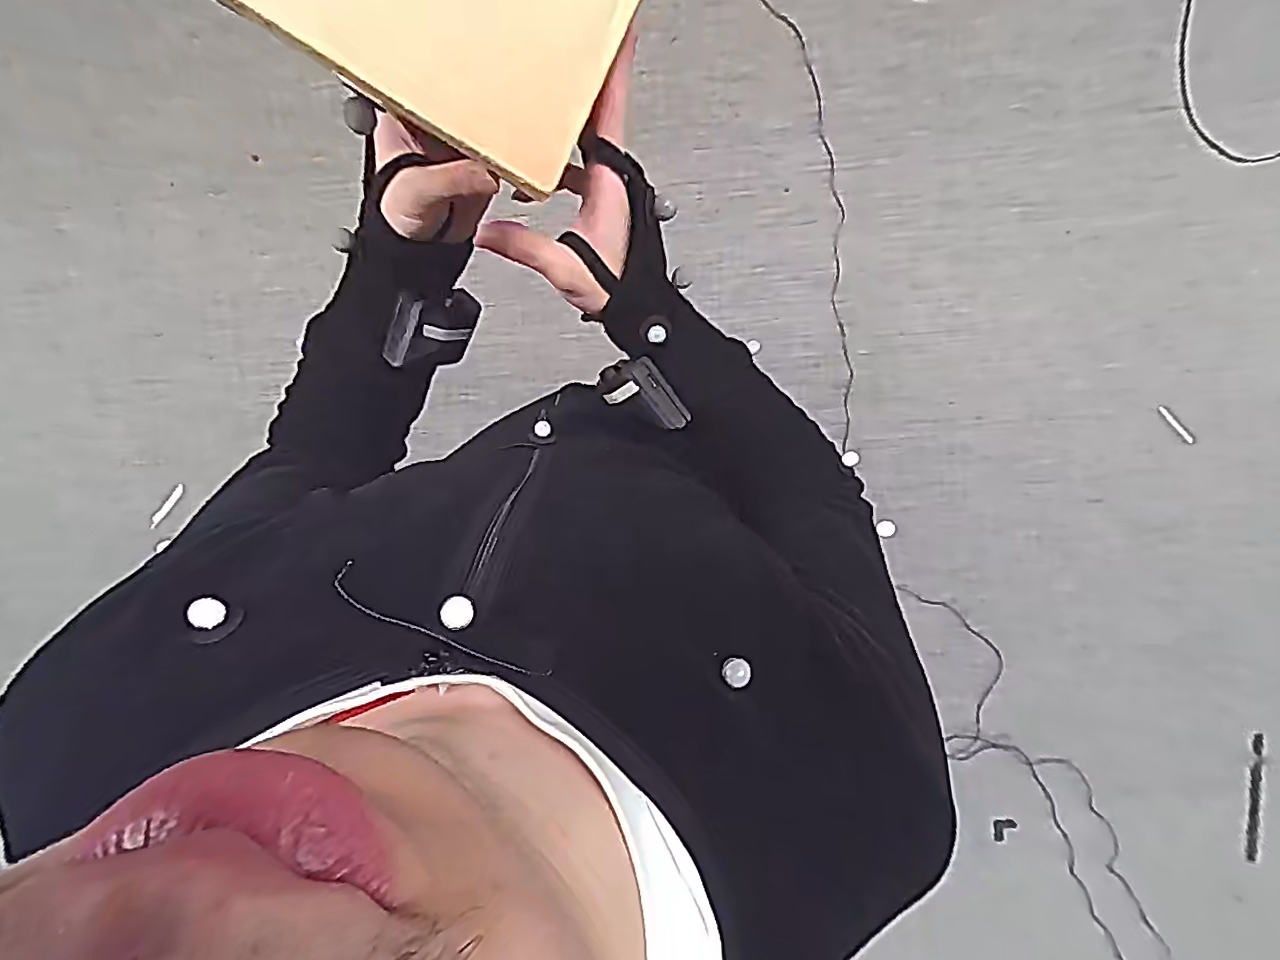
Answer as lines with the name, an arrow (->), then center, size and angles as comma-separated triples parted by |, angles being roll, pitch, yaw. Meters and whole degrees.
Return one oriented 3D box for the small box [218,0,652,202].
small box -> -0.074, -0.241, 0.219 | 0.168, 0.176, 0.179 | 24, 109, -21
